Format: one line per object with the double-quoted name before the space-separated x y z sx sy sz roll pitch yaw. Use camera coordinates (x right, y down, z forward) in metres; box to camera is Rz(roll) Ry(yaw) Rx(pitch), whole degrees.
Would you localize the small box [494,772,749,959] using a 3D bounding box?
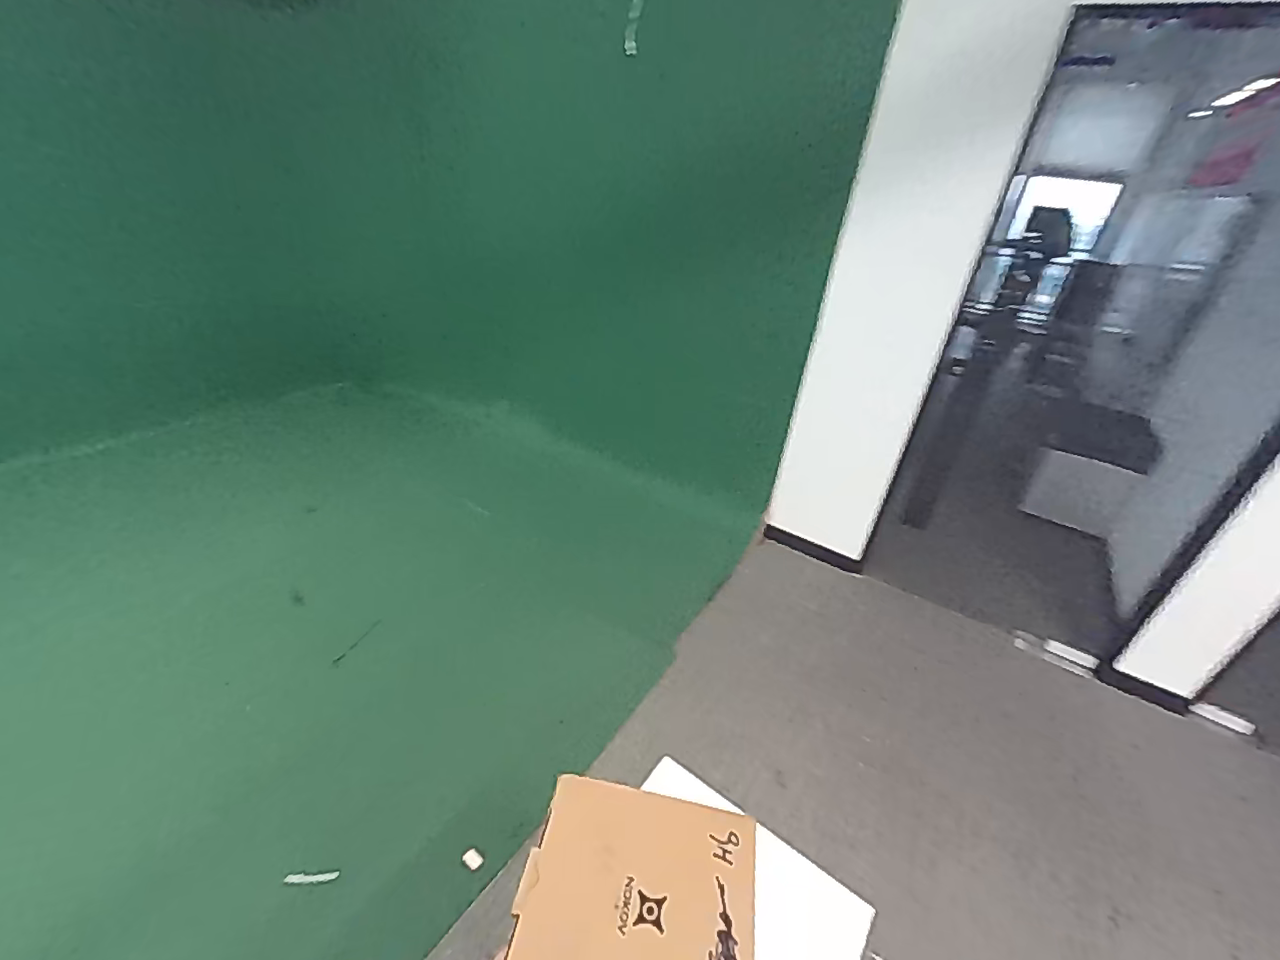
"small box" -0.010 0.383 0.452 0.179 0.176 0.168 9 35 6
